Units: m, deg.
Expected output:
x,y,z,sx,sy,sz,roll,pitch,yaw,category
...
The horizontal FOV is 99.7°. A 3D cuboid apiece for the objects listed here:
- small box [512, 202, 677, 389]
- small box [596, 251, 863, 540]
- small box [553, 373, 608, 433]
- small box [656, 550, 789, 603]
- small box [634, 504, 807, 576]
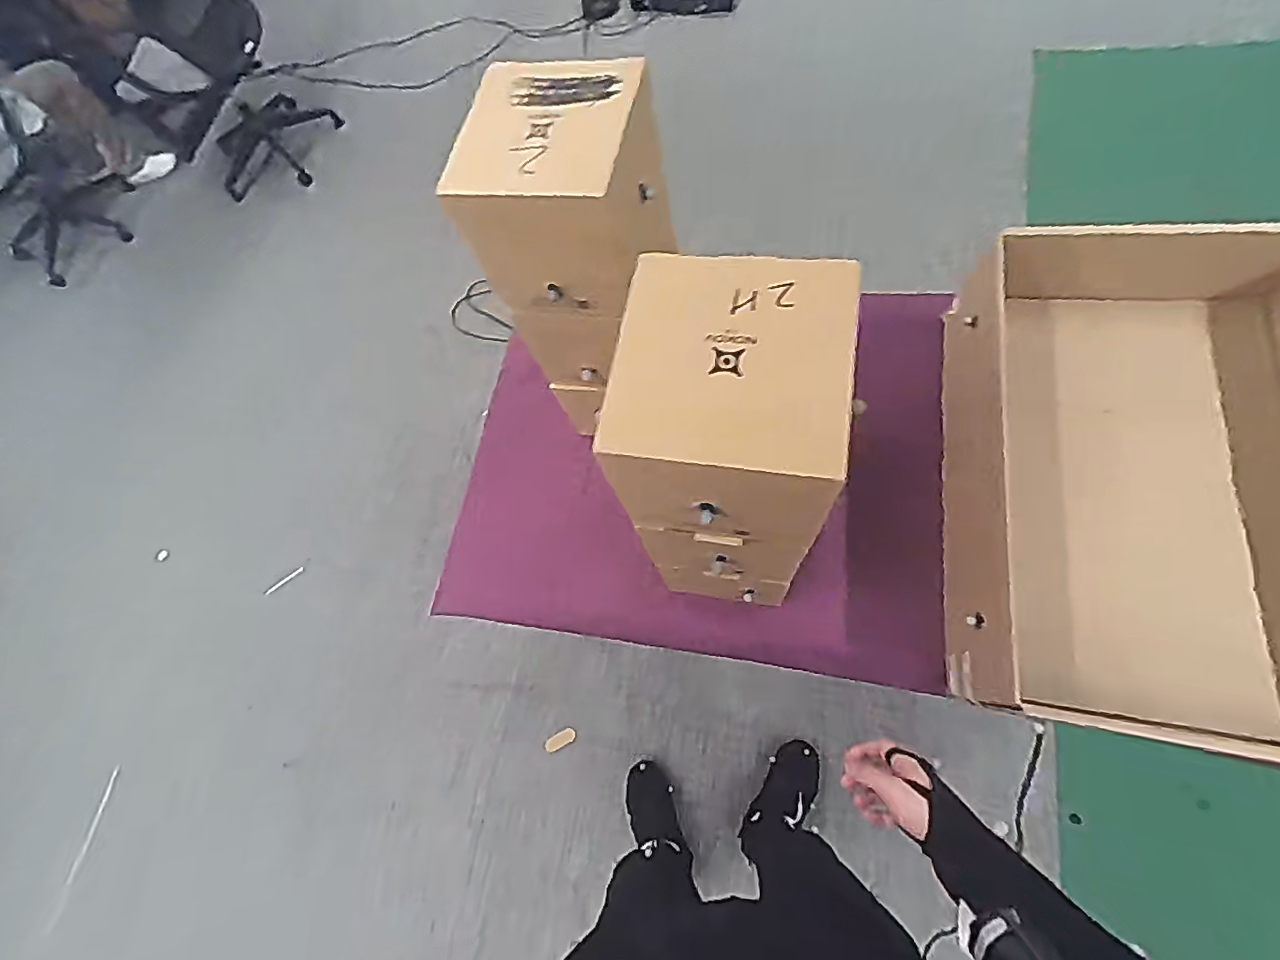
x,y,z,sx,sy,sz,roll,pitch,yaw,category
-0.044,-0.239,0.727,0.168,0.176,0.179,9,71,14,small box
0.077,-0.060,0.452,0.168,0.176,0.179,8,70,12,small box
-0.023,-0.178,0.878,0.168,0.176,0.179,5,69,13,small box
0.127,0.064,0.753,0.168,0.176,0.179,7,69,13,small box
0.101,0.001,0.605,0.168,0.176,0.179,7,70,12,small box
